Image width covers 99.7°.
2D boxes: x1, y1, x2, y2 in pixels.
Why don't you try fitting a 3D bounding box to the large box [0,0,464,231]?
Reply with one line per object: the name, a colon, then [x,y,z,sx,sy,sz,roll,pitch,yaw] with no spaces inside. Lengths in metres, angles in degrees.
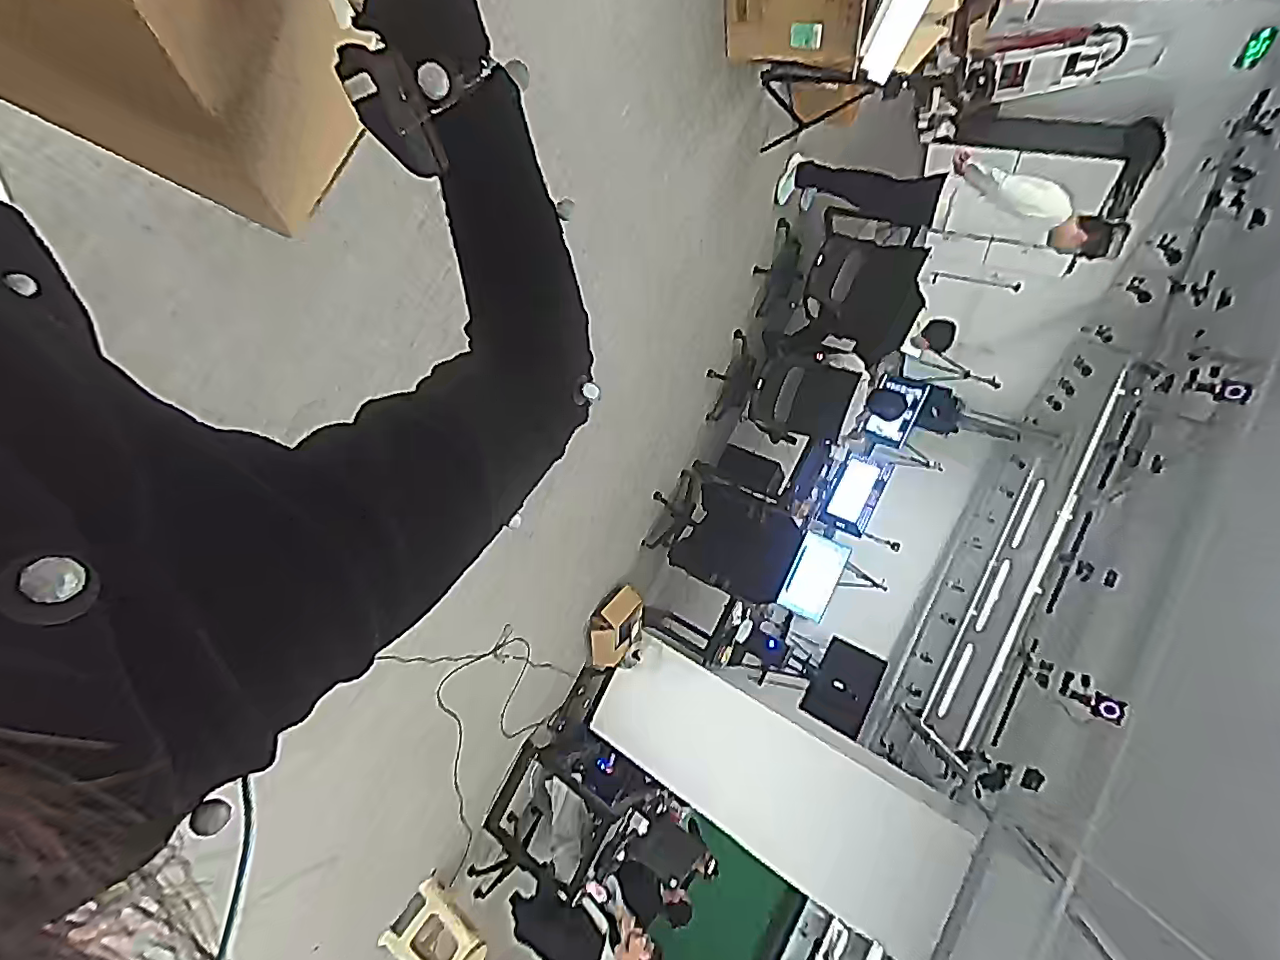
large box: [-0.321,-0.406,0.256,0.320,0.408,0.320,148,-35,-76]
